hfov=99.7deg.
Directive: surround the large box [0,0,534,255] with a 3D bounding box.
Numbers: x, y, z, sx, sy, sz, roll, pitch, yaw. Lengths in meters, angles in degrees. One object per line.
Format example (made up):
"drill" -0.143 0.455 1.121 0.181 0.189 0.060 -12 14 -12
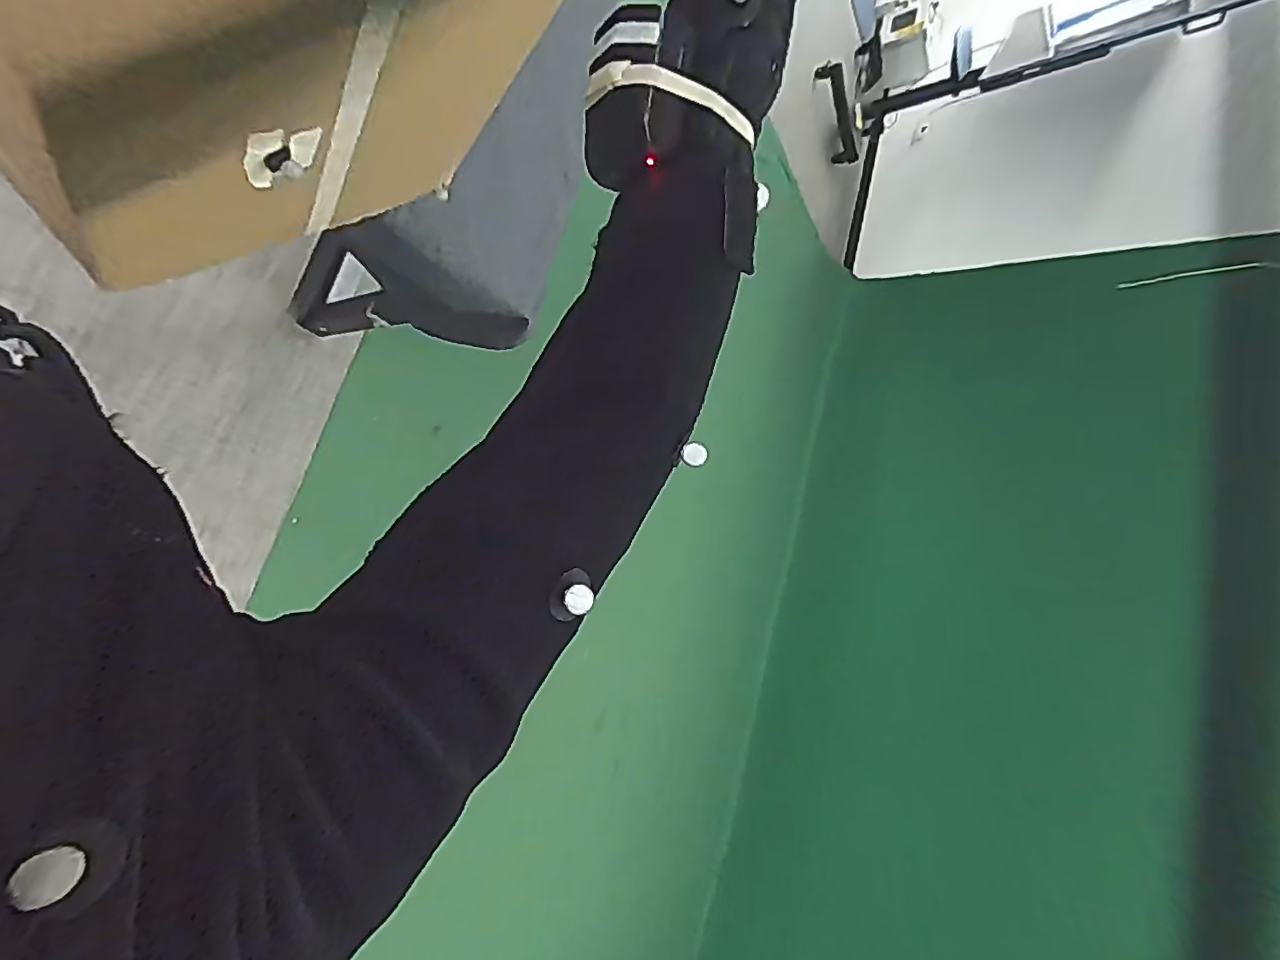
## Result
"large box" -0.246 -0.391 0.278 0.320 0.408 0.320 -44 112 -34
